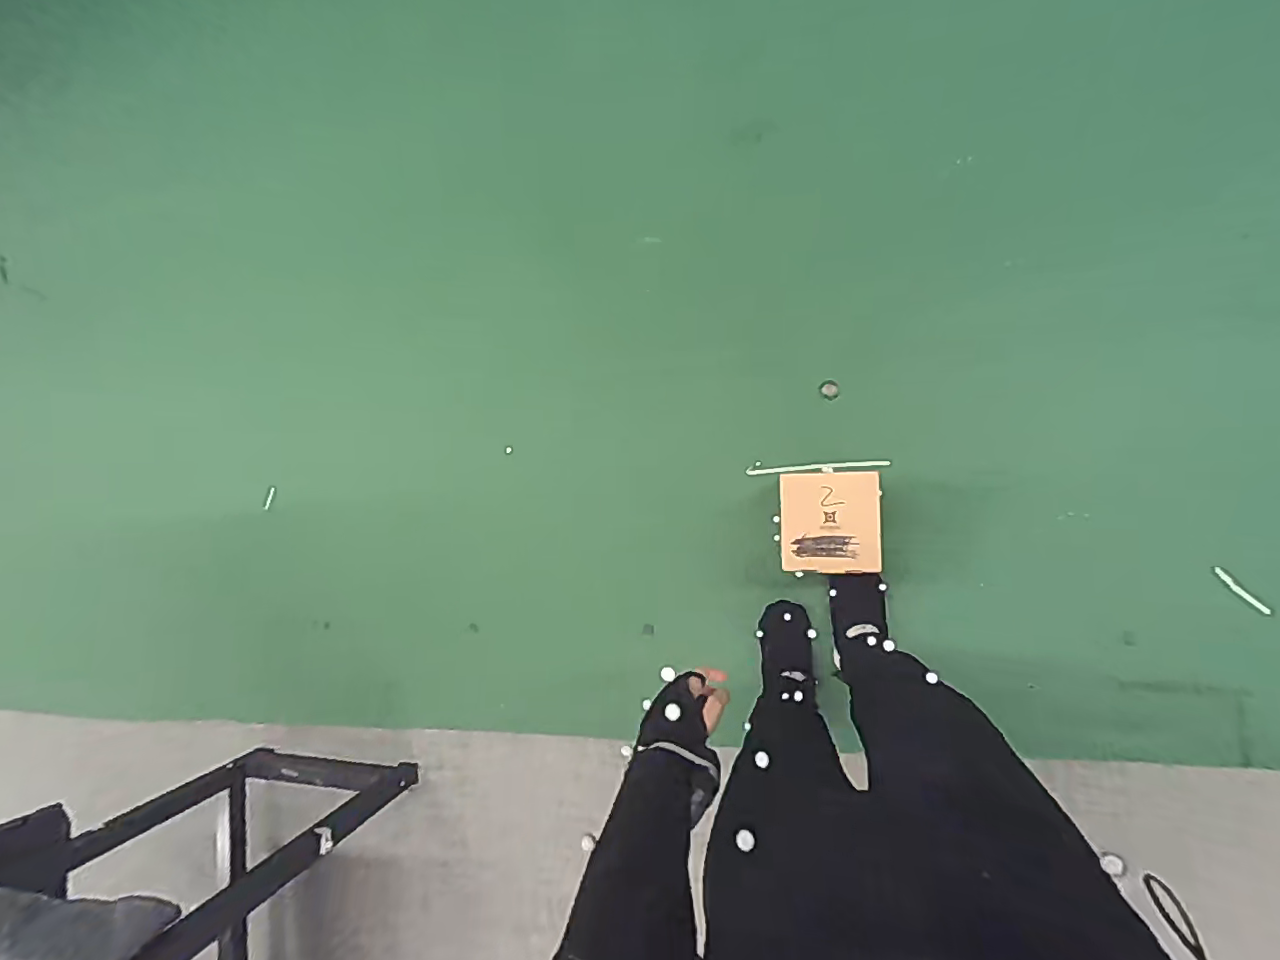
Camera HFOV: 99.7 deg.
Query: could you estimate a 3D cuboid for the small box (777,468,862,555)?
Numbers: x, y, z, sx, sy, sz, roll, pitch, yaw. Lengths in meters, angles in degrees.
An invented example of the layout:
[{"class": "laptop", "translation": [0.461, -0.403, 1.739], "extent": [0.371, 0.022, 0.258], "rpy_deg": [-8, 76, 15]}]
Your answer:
[{"class": "small box", "translation": [0.386, 0.065, 1.180], "extent": [0.168, 0.176, 0.179], "rpy_deg": [-1, 90, 15]}]
